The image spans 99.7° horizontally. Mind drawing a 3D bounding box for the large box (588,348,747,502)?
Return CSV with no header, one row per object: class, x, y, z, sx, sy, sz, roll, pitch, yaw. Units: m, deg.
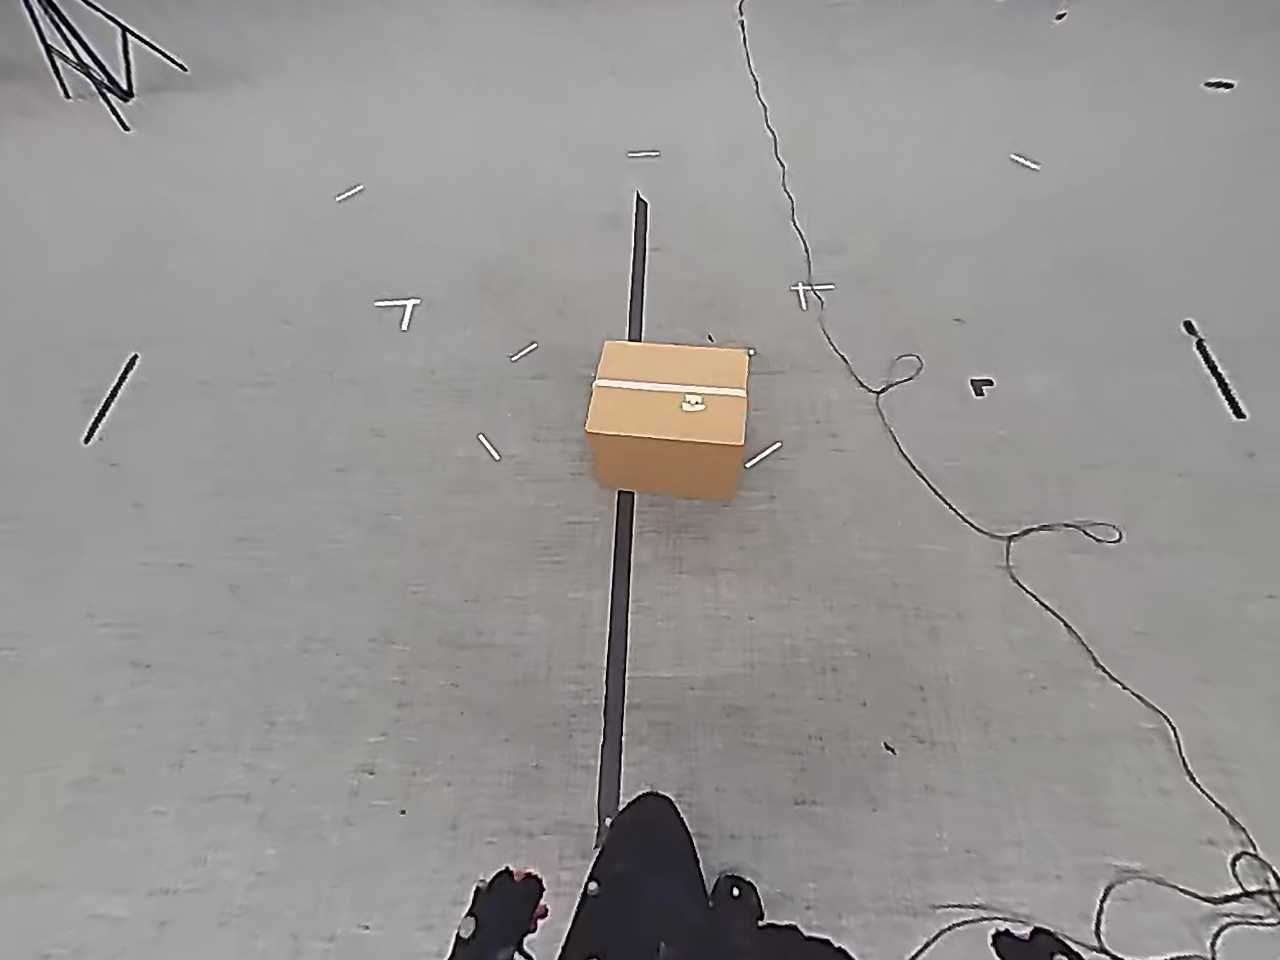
large box,0.085,-0.152,1.561,0.408,0.320,0.320,6,61,6
